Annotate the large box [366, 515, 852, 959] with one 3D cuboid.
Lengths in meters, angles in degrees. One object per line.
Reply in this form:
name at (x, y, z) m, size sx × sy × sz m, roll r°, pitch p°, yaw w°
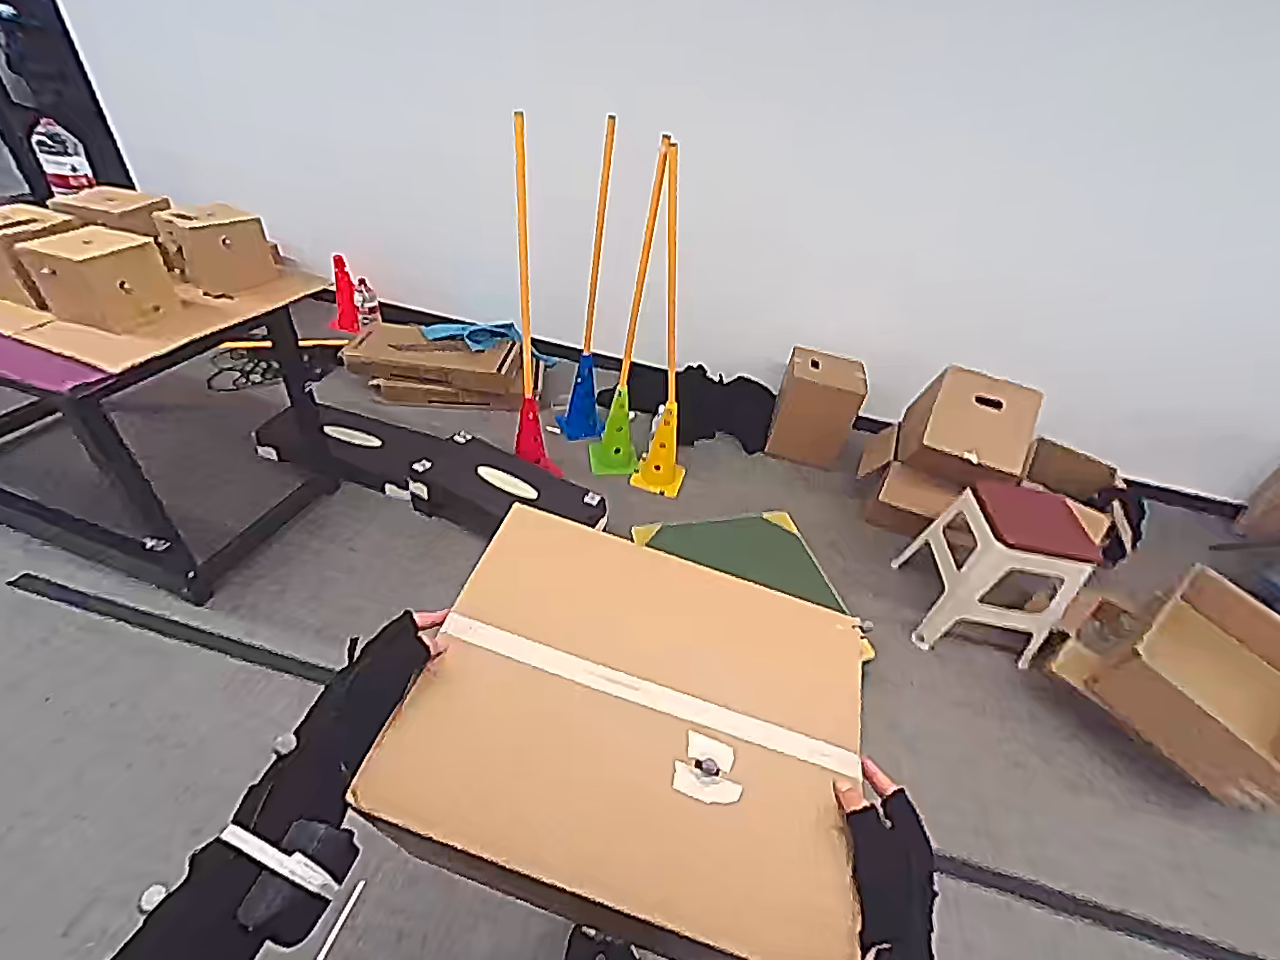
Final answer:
large box at (-0.019, 0.299, 0.626) m, size 0.408 × 0.320 × 0.320 m, roll 19°, pitch 50°, yaw 3°
